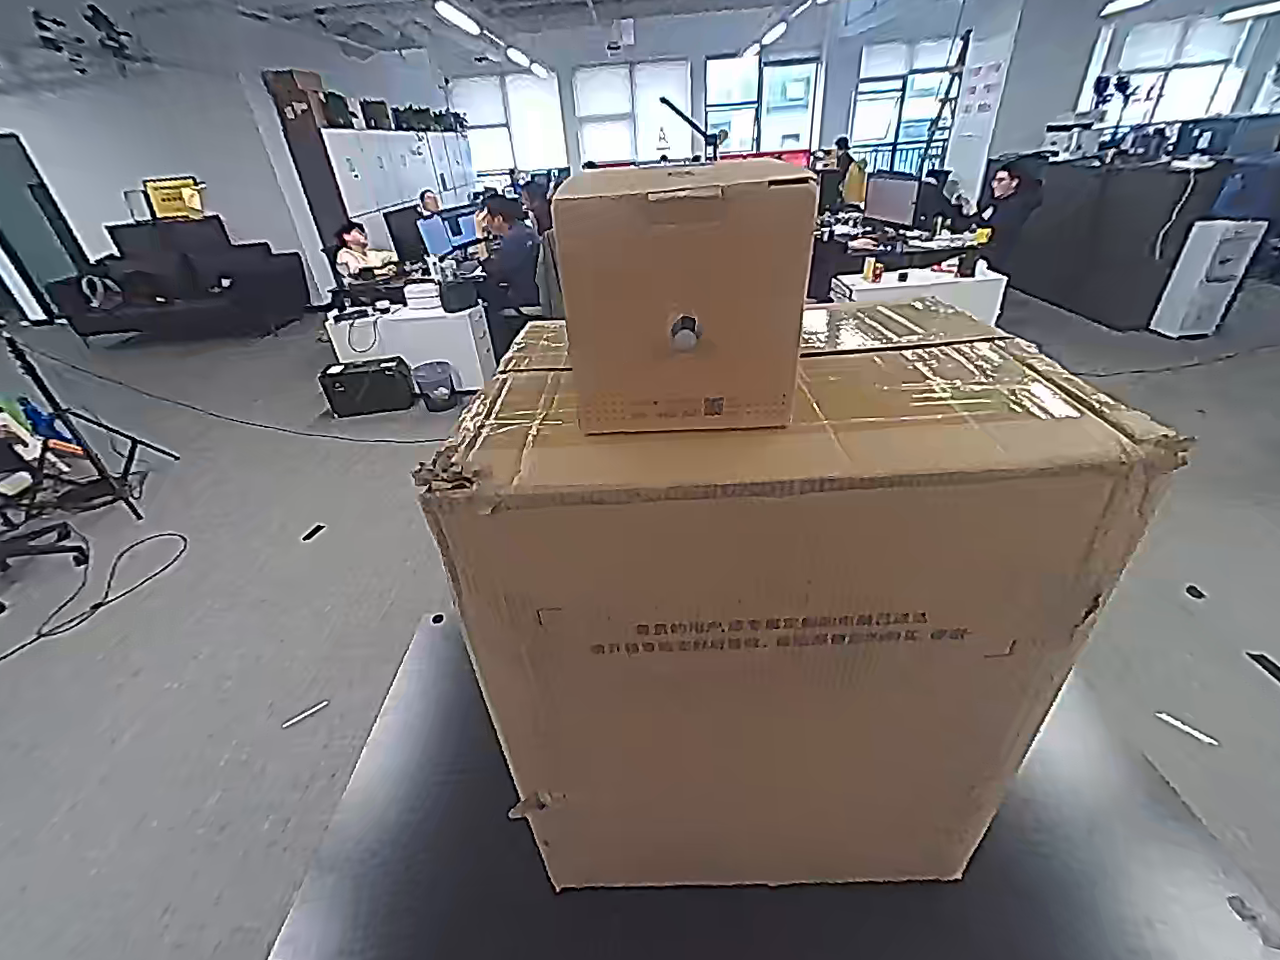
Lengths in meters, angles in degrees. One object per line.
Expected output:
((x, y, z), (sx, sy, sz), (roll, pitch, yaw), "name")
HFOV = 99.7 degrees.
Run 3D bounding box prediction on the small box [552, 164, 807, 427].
((0.032, -0.153, 0.451), (0.168, 0.176, 0.179), (-2, 35, 3), "small box")
